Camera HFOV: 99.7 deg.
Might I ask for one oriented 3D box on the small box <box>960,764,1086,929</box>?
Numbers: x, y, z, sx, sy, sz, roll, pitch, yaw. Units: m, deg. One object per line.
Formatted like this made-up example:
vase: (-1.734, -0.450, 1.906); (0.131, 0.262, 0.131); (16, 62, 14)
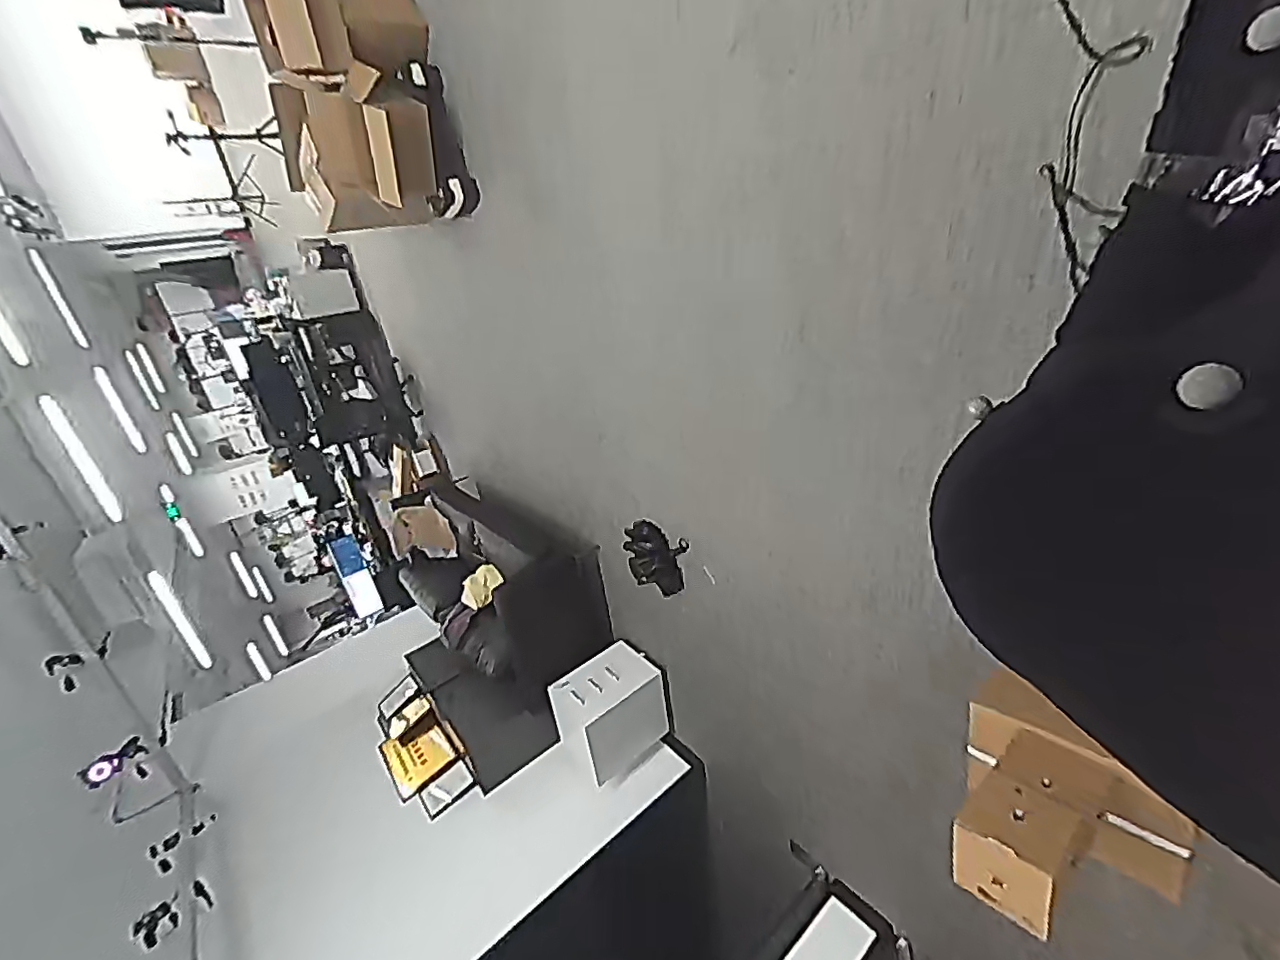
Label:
small box: (0.767, 0.719, 1.085); (0.168, 0.176, 0.179); (13, 120, 50)

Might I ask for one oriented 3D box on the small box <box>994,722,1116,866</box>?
small box: (0.894, 0.666, 1.173); (0.179, 0.176, 0.168); (17, 123, 50)
